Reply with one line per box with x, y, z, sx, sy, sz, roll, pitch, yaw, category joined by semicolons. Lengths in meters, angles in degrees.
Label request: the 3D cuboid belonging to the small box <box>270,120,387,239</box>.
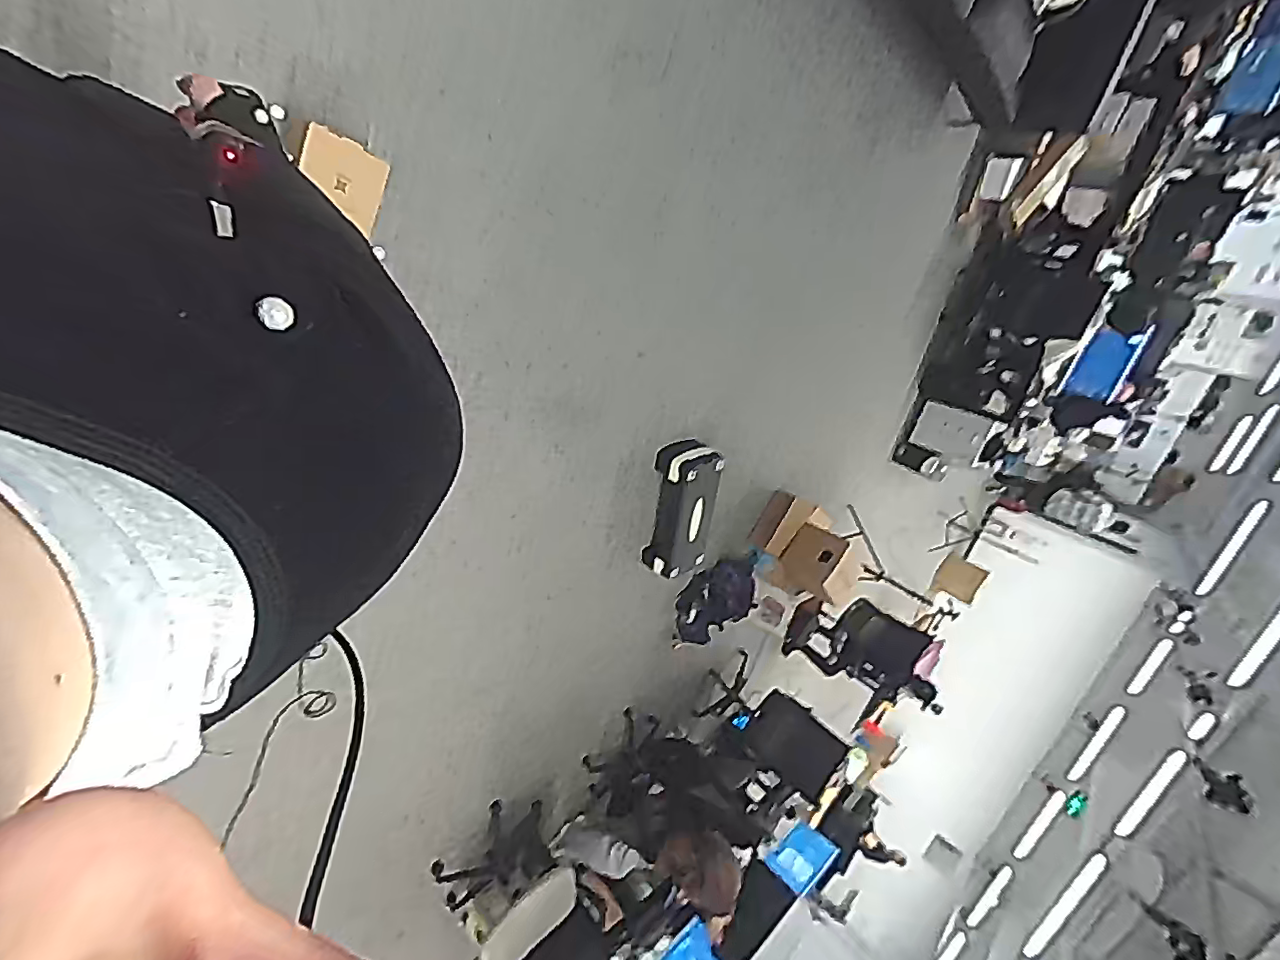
-0.698;-0.668;1.204;0.168;0.176;0.179;10;108;-49;small box
